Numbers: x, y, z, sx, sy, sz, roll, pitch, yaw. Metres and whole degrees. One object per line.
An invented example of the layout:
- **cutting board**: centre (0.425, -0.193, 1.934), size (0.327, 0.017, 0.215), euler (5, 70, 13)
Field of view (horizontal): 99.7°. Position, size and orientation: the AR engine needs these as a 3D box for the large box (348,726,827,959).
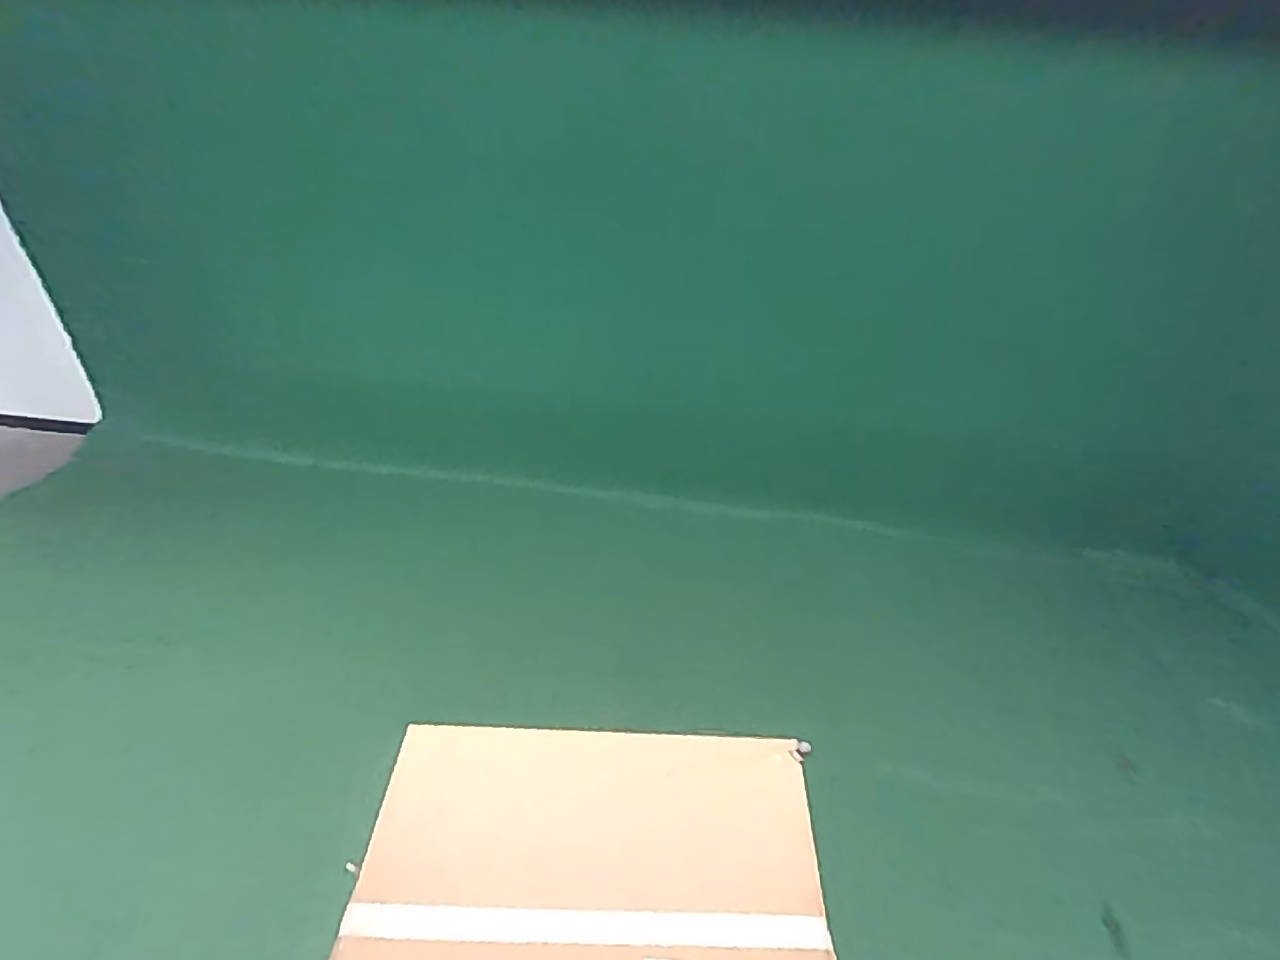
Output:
- **large box**: centre (-0.048, 0.480, 0.572), size (0.408, 0.320, 0.320), euler (3, 47, -1)
